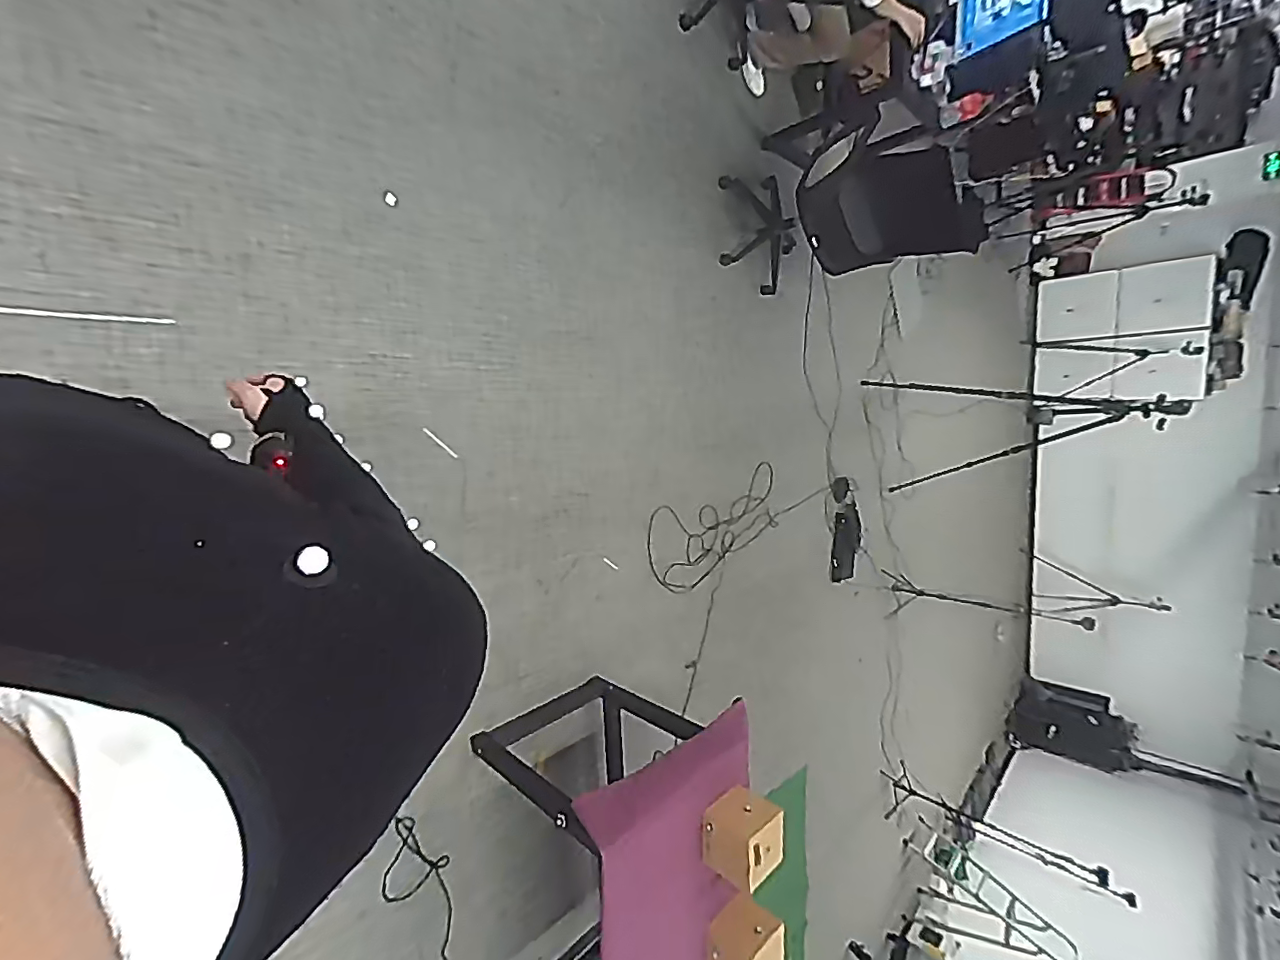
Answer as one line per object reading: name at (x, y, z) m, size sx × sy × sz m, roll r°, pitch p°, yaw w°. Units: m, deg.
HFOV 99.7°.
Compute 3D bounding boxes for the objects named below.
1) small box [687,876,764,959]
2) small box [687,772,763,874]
small box at (0.270, 1.409, 1.706) m, size 0.179 × 0.176 × 0.168 m, roll -4°, pitch 97°, yaw -45°
small box at (0.258, 1.036, 1.650) m, size 0.179 × 0.176 × 0.168 m, roll -7°, pitch 100°, yaw -45°
